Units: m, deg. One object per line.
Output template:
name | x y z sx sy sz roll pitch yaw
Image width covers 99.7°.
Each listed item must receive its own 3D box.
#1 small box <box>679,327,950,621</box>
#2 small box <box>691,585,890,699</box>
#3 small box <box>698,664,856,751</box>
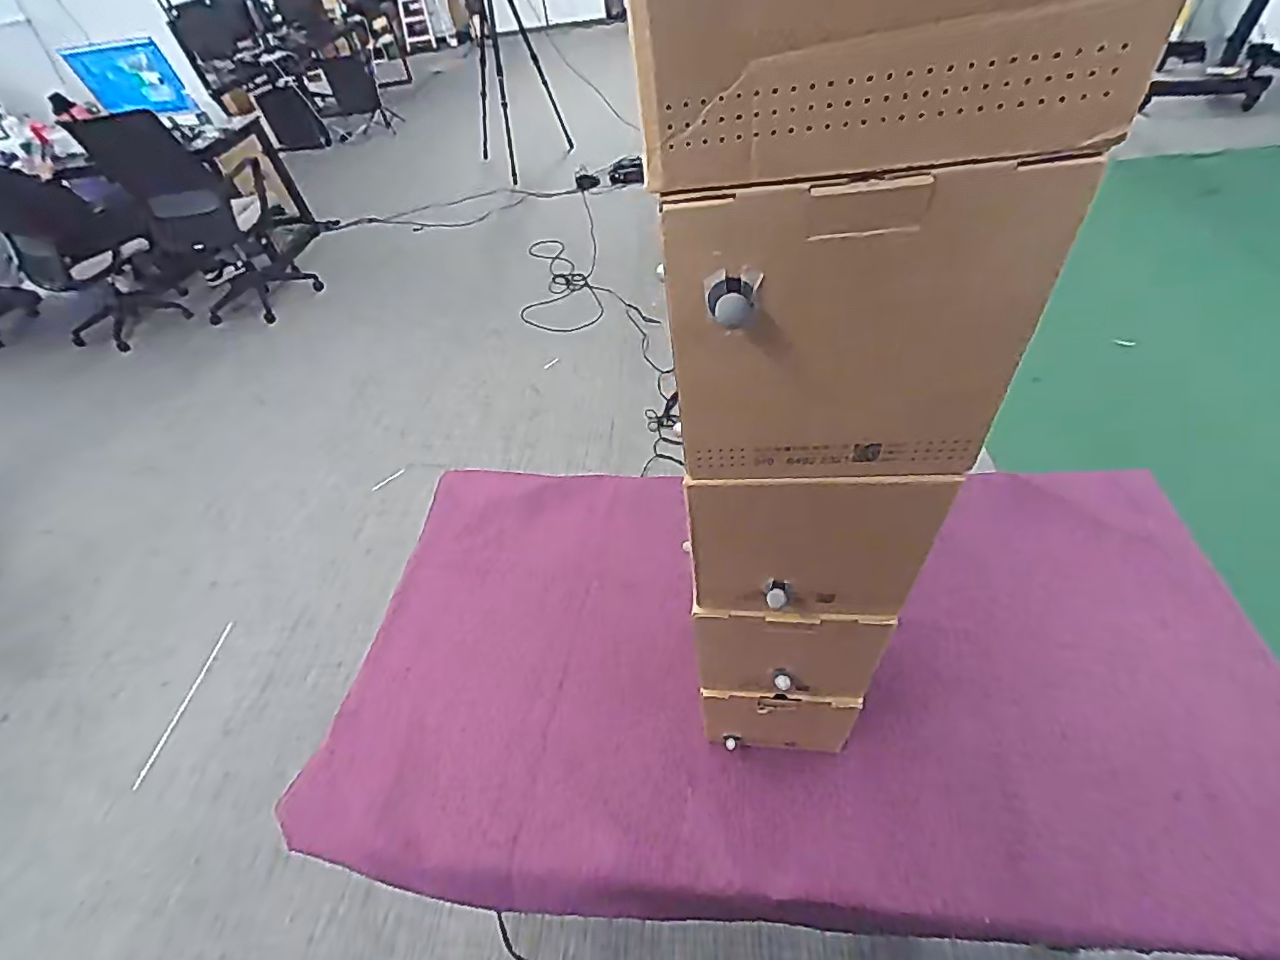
small box | 0.125 -0.005 0.448 0.168 0.176 0.179 0 48 10
small box | 0.144 0.107 0.565 0.168 0.176 0.179 0 48 10
small box | 0.164 0.222 0.680 0.168 0.176 0.179 0 48 10
